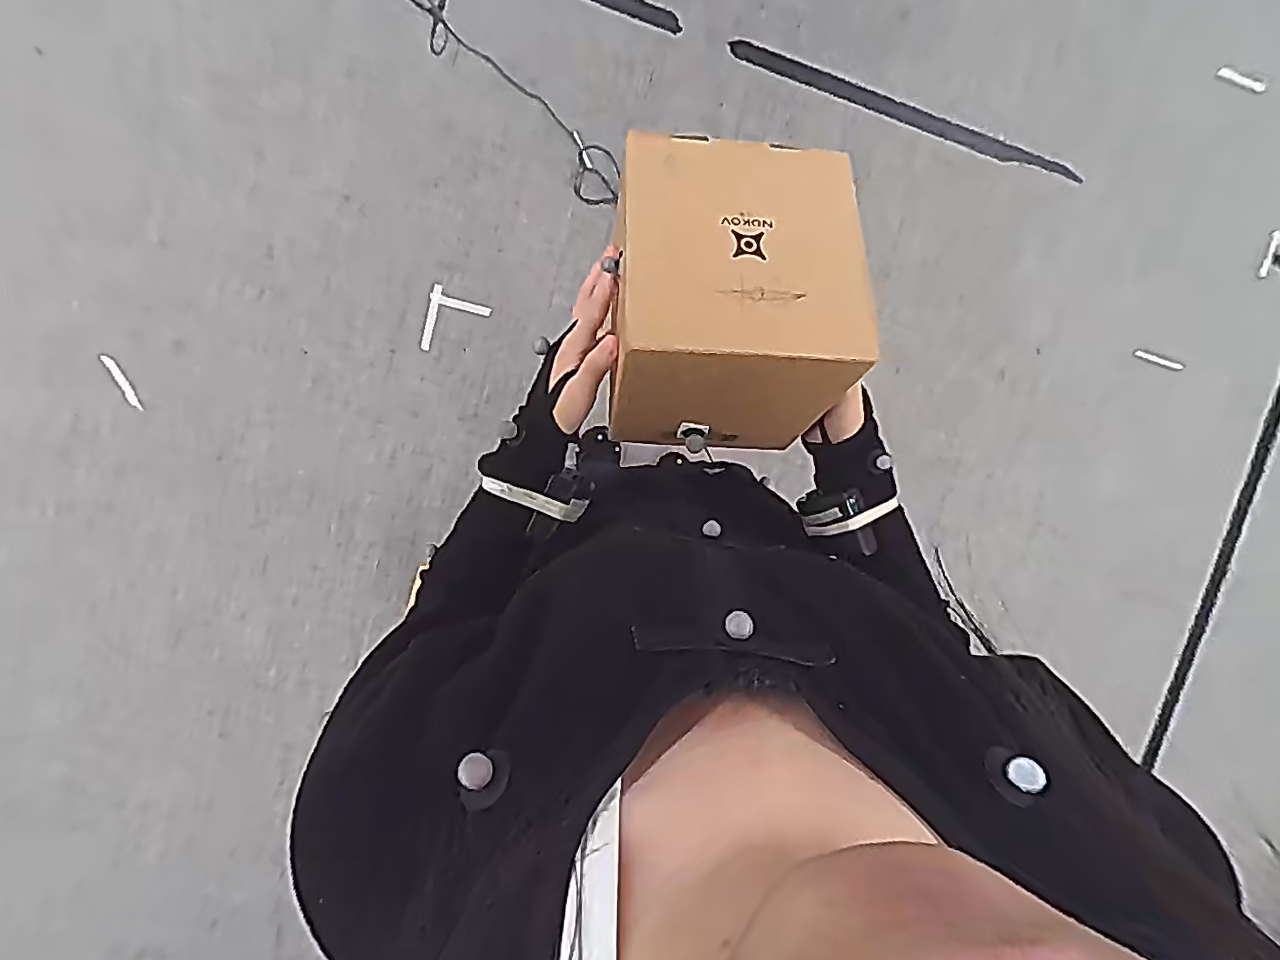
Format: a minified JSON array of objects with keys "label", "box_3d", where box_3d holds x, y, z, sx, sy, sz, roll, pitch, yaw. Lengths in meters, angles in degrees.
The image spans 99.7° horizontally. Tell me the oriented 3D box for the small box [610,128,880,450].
[{"label":"small box","box_3d":[0.063,-0.137,0.437,0.168,0.176,0.179,1,73,-6]}]
